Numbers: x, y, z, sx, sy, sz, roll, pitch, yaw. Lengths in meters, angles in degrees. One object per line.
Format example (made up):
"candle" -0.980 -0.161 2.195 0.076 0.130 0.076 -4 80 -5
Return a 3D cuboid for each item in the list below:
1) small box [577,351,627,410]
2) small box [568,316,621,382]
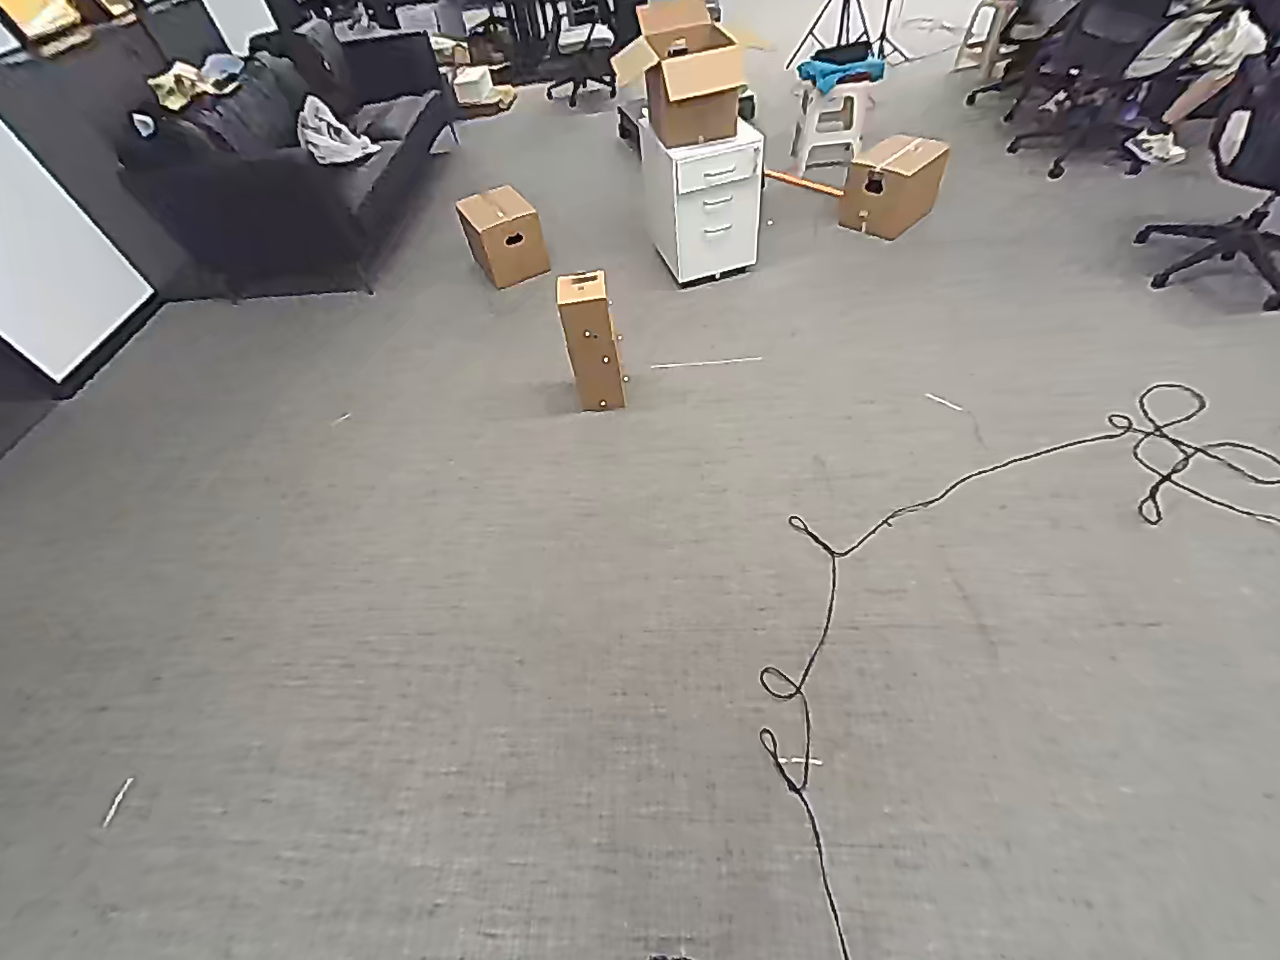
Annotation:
"small box" -0.147 -0.396 2.161 0.179 0.176 0.168 -4 50 5
"small box" -0.165 -0.490 2.029 0.179 0.176 0.168 -7 49 4
